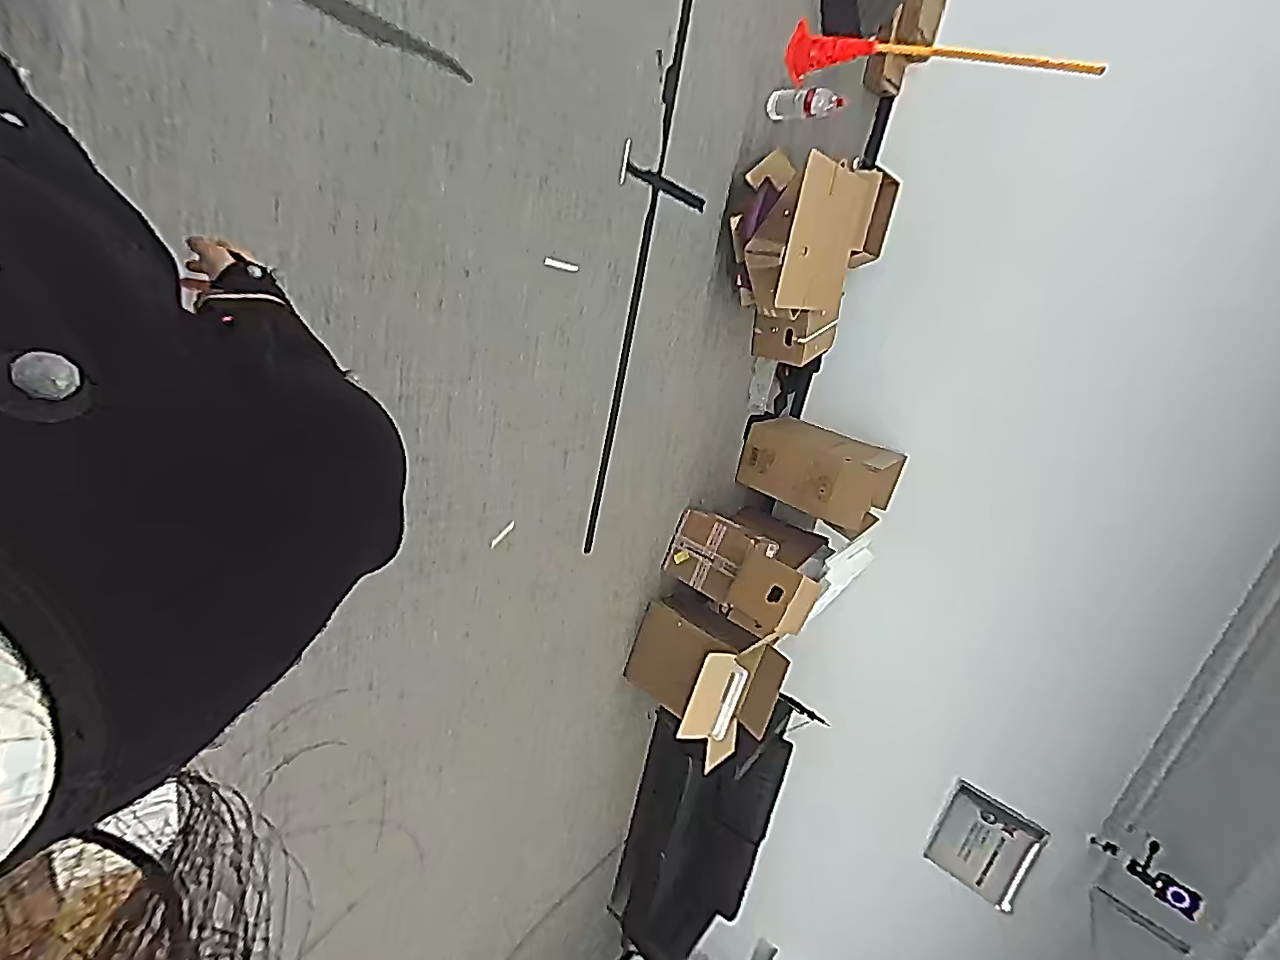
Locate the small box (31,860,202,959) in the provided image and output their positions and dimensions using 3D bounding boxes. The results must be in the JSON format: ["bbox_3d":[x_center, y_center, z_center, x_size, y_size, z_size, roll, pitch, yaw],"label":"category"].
[{"bbox_3d":[-0.803,0.732,0.827,0.168,0.176,0.179,-3,113,-53],"label":"small box"}]
